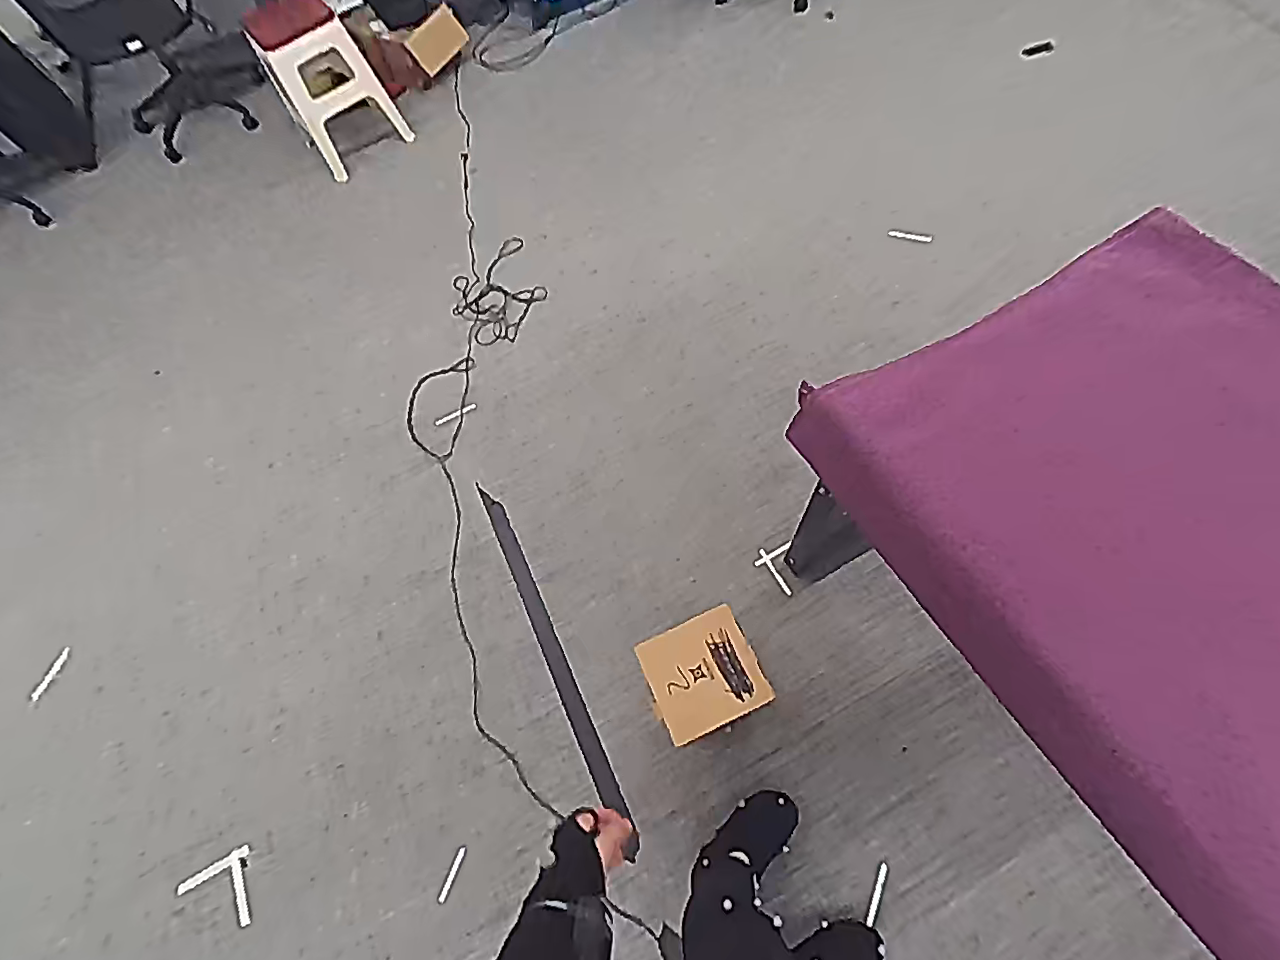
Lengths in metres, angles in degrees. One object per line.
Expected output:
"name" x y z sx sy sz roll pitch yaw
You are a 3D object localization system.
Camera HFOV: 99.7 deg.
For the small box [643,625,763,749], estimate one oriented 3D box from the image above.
"small box" 0.123 0.413 1.079 0.179 0.176 0.168 -27 65 -5
